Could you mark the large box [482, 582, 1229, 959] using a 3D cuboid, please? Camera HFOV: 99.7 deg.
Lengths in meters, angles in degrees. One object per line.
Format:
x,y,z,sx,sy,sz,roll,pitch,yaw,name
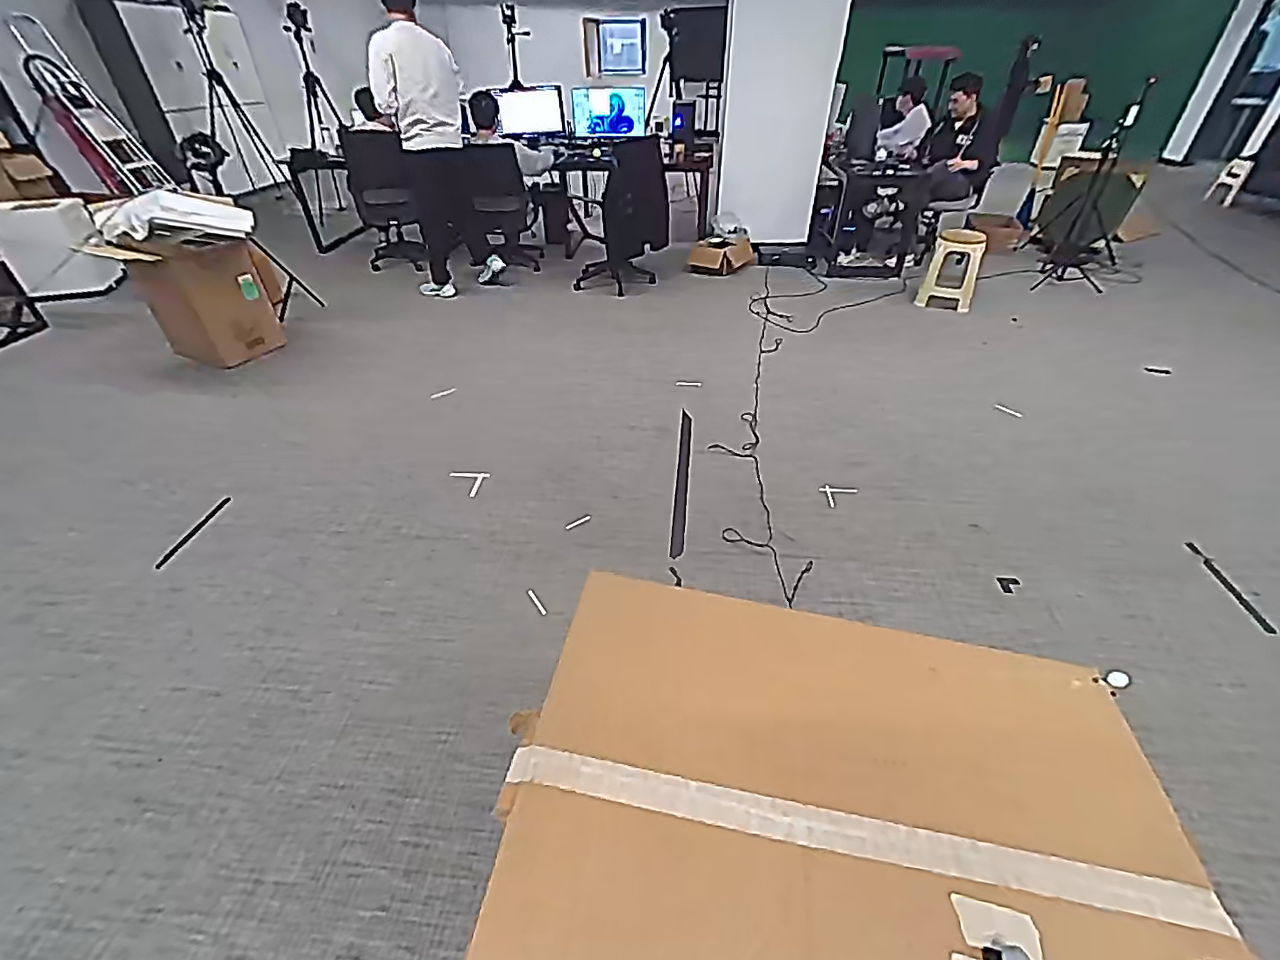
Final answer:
0.114,0.326,0.422,0.408,0.320,0.320,11,42,4,large box
